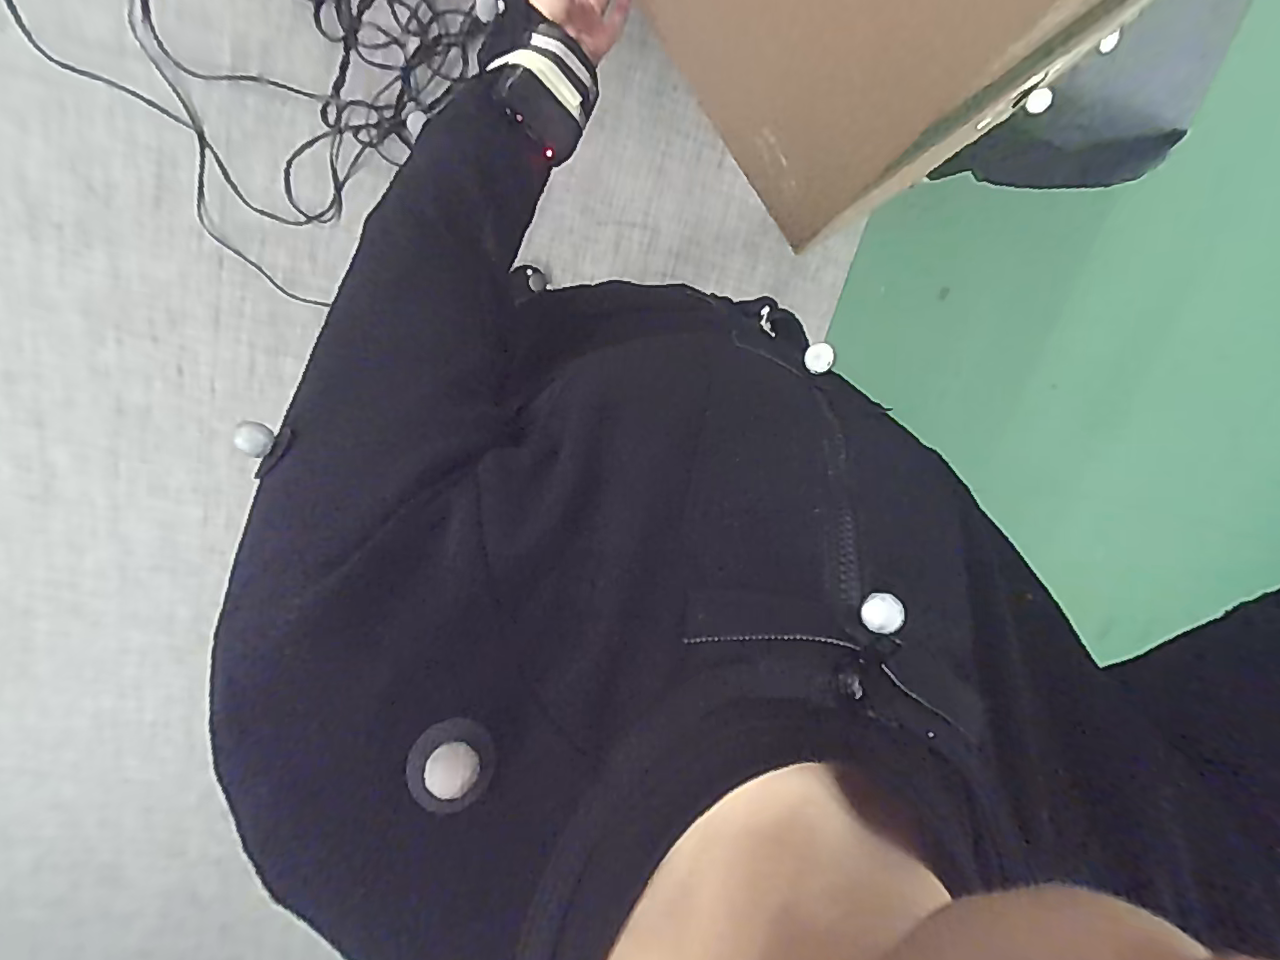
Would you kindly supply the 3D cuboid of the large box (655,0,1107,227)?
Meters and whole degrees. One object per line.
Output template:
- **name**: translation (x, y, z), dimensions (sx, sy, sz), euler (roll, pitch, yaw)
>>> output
- **large box**: translation (0.167, -0.387, 0.230), dimensions (0.320, 0.408, 0.320), euler (-36, 98, 6)
